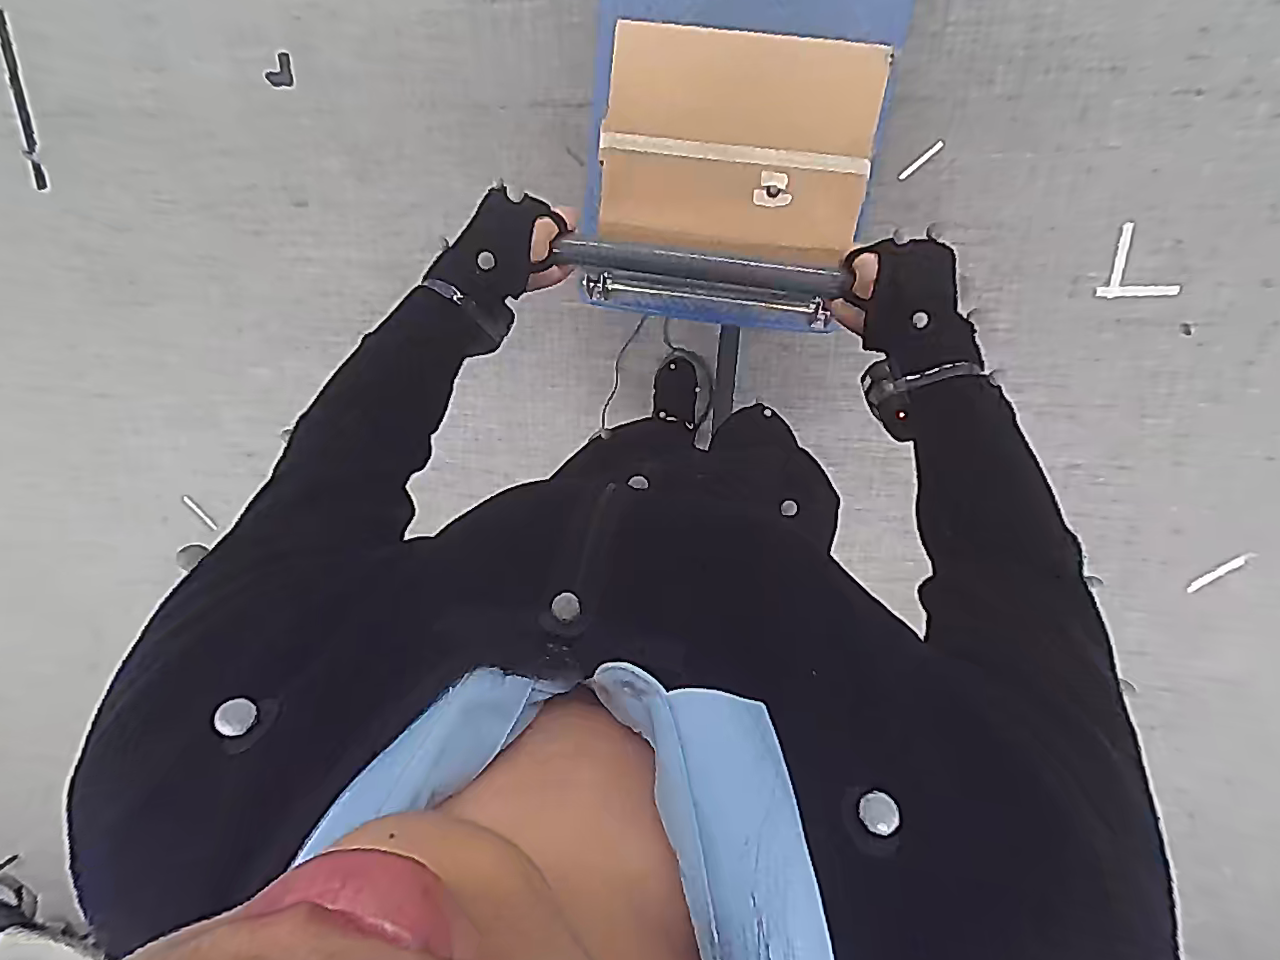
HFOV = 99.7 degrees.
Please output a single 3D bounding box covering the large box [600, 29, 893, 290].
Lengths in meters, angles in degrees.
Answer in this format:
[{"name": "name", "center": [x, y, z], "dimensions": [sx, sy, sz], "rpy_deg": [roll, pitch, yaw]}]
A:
[{"name": "large box", "center": [0.158, -0.526, 0.960], "dimensions": [0.408, 0.320, 0.320], "rpy_deg": [8, 108, 3]}]
